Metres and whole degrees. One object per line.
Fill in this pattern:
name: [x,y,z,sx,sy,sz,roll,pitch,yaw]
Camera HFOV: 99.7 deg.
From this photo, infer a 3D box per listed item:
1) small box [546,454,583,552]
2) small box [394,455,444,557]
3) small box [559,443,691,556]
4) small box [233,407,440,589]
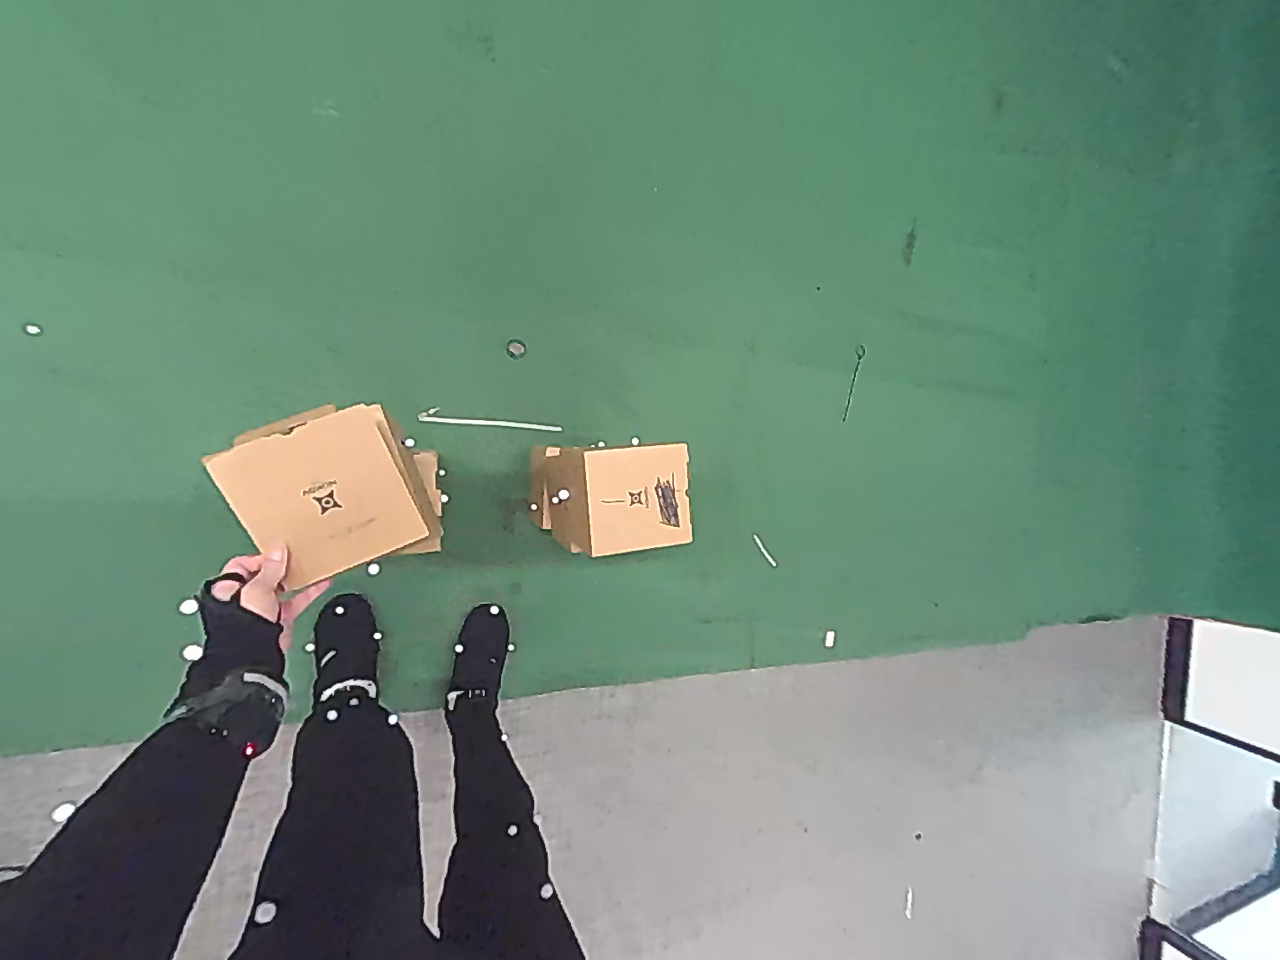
small box: [-0.086,0.031,1.080,0.168,0.176,0.179,-9,98,-20]
small box: [-0.443,0.041,0.947,0.179,0.176,0.168,-3,94,-21]
small box: [-0.030,0.024,0.924,0.179,0.176,0.168,-6,96,-20]
small box: [-0.379,0.026,0.710,0.168,0.176,0.179,-22,91,-14]
